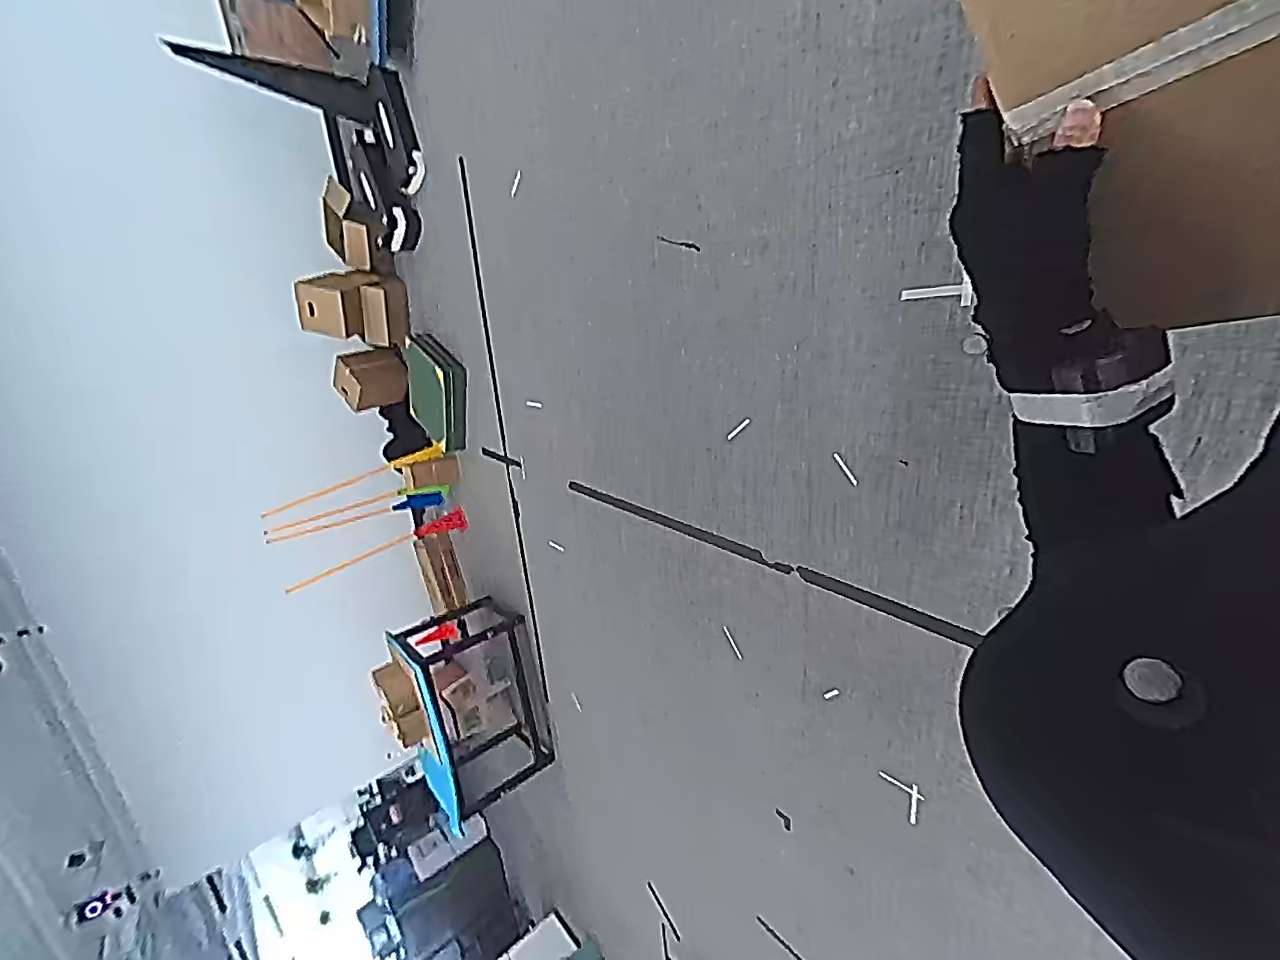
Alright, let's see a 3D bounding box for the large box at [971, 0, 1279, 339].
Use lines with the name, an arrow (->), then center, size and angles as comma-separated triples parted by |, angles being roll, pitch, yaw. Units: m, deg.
large box -> 0.404, -0.302, 0.188 | 0.320, 0.320, 0.408 | 44, 159, -26
